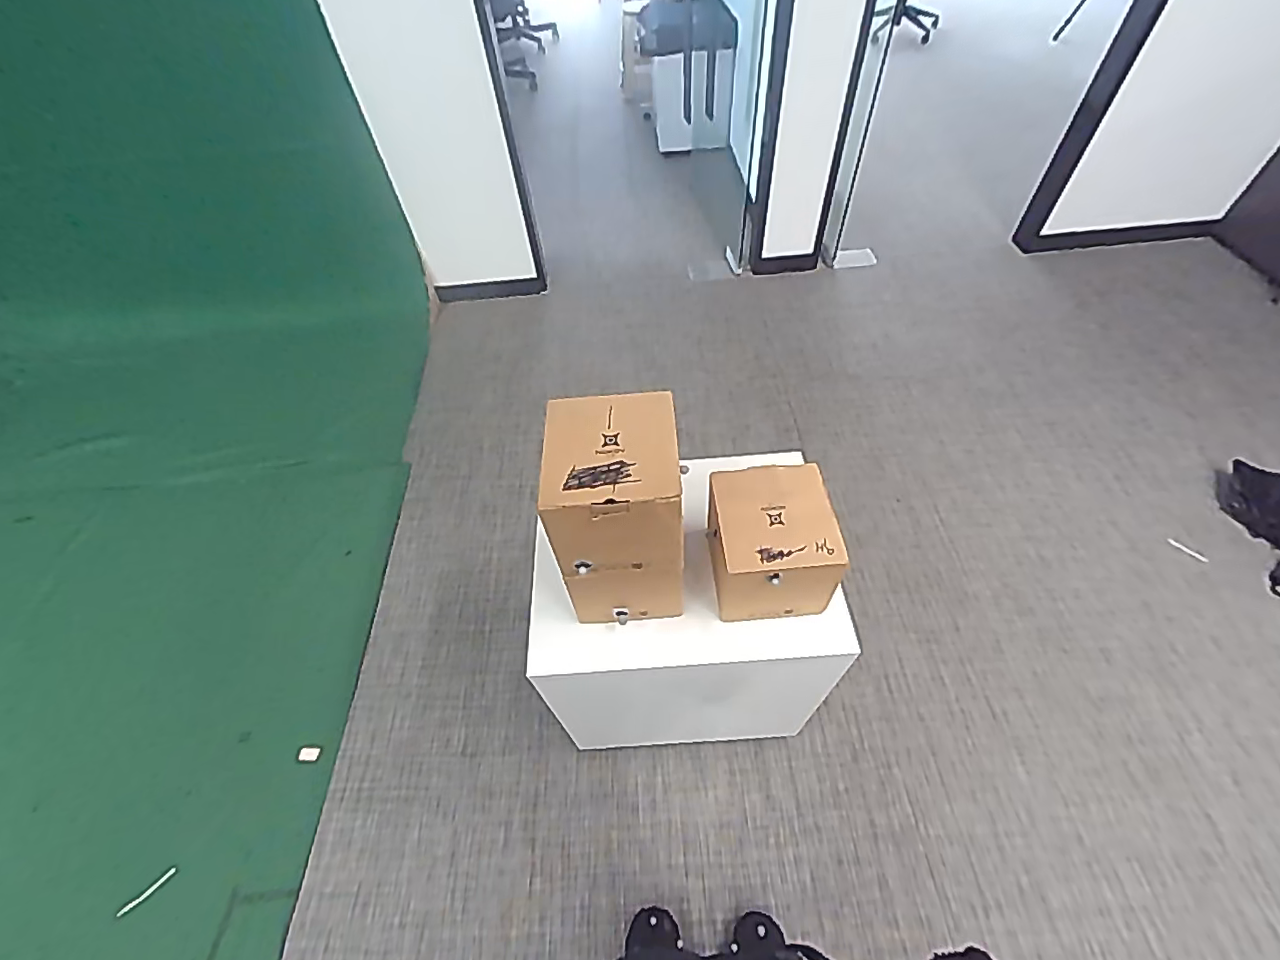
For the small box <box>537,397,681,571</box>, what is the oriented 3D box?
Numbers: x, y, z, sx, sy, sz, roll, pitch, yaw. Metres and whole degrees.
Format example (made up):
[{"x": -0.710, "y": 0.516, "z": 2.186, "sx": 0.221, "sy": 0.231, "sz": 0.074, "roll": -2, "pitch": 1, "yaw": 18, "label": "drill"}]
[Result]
[{"x": -0.033, "y": 0.013, "z": 0.728, "sx": 0.168, "sy": 0.176, "sz": 0.179, "roll": -4, "pitch": 51, "yaw": 2, "label": "small box"}]

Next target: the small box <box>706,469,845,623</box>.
[{"x": 0.196, "y": 0.105, "z": 0.844, "sx": 0.168, "sy": 0.176, "sz": 0.179, "roll": -4, "pitch": 51, "yaw": 1, "label": "small box"}]

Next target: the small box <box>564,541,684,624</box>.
[{"x": -0.024, "y": 0.105, "z": 0.844, "sx": 0.168, "sy": 0.176, "sz": 0.179, "roll": -6, "pitch": 53, "yaw": 0, "label": "small box"}]
